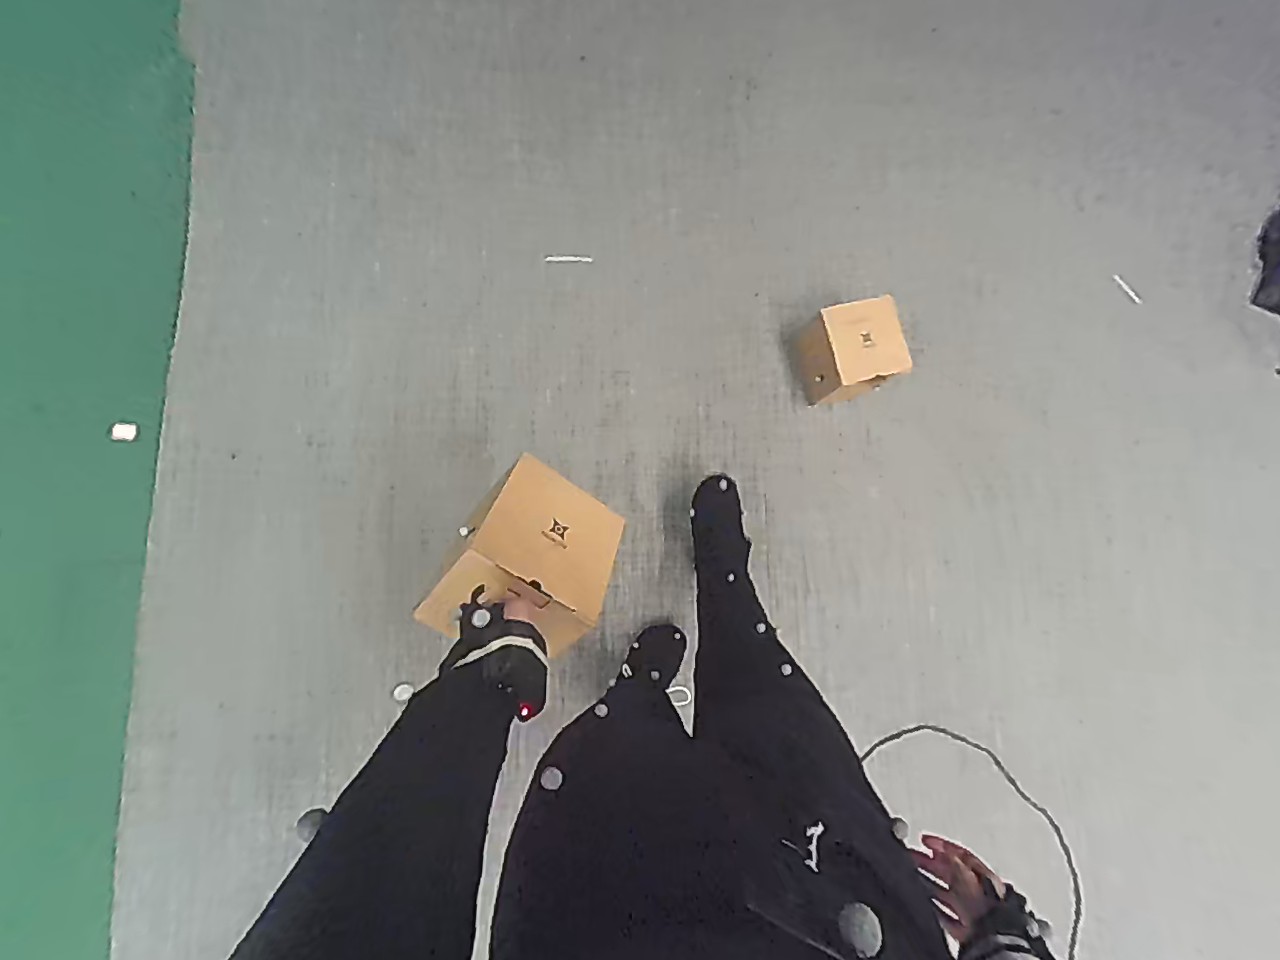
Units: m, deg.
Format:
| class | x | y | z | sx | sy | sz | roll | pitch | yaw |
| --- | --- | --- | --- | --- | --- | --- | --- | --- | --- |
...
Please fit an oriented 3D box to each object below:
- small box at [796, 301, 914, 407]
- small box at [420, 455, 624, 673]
| class | x | y | z | sx | sy | sz | roll | pitch | yaw |
| --- | --- | --- | --- | --- | --- | --- | --- | --- | --- |
| small box | 0.476 | -0.274 | 1.220 | 0.168 | 0.176 | 0.179 | -13 | 83 | -7 |
| small box | -0.147 | 0.108 | 0.684 | 0.168 | 0.176 | 0.179 | 37 | 36 | -17 |
